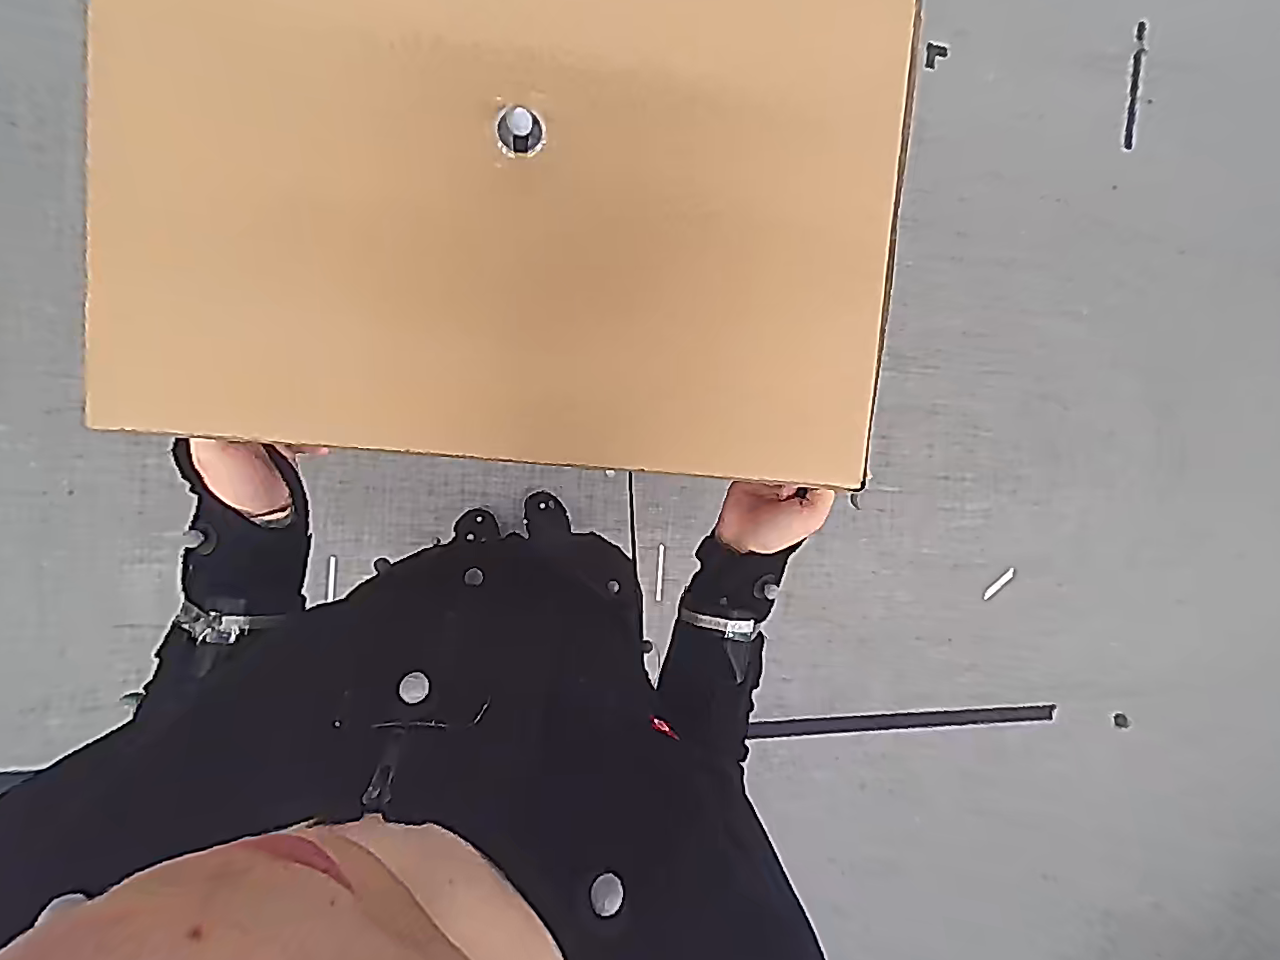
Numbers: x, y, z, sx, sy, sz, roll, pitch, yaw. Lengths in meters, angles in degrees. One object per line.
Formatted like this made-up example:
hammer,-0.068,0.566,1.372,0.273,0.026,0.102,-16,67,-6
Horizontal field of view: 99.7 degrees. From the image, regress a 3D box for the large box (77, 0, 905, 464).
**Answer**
large box,-0.077,-0.186,0.413,0.408,0.320,0.320,4,96,-5
